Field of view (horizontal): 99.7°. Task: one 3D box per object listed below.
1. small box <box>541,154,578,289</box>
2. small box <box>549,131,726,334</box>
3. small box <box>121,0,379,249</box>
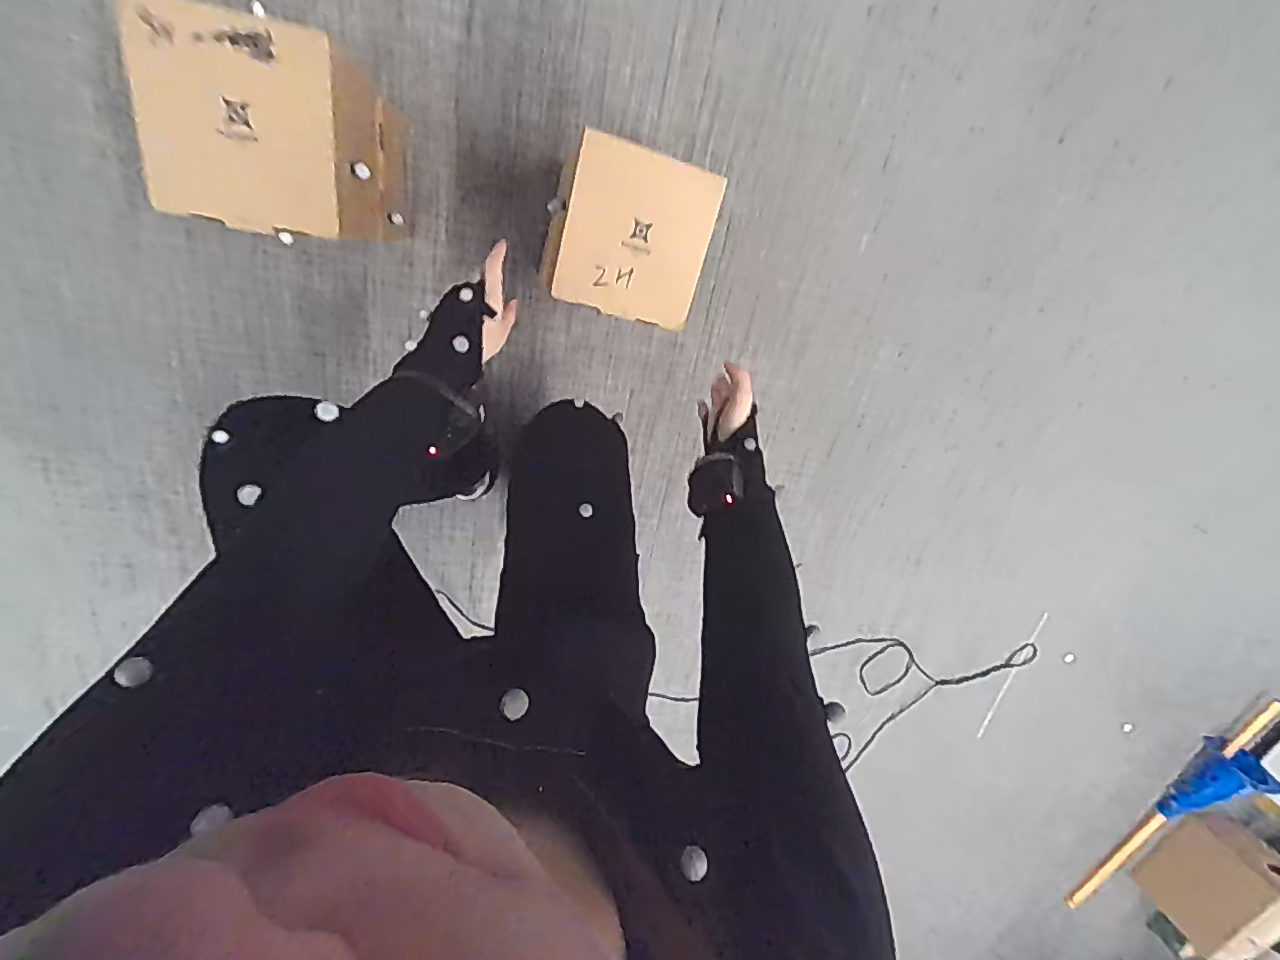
[{"bbox_3d":[-0.054,-0.369,0.831,0.168,0.176,0.179,12,112,-18],"label":"small box"},{"bbox_3d":[-0.017,-0.303,0.683,0.168,0.176,0.179,10,111,-17],"label":"small box"},{"bbox_3d":[-0.385,-0.356,0.576,0.168,0.176,0.179,4,114,-14],"label":"small box"}]
